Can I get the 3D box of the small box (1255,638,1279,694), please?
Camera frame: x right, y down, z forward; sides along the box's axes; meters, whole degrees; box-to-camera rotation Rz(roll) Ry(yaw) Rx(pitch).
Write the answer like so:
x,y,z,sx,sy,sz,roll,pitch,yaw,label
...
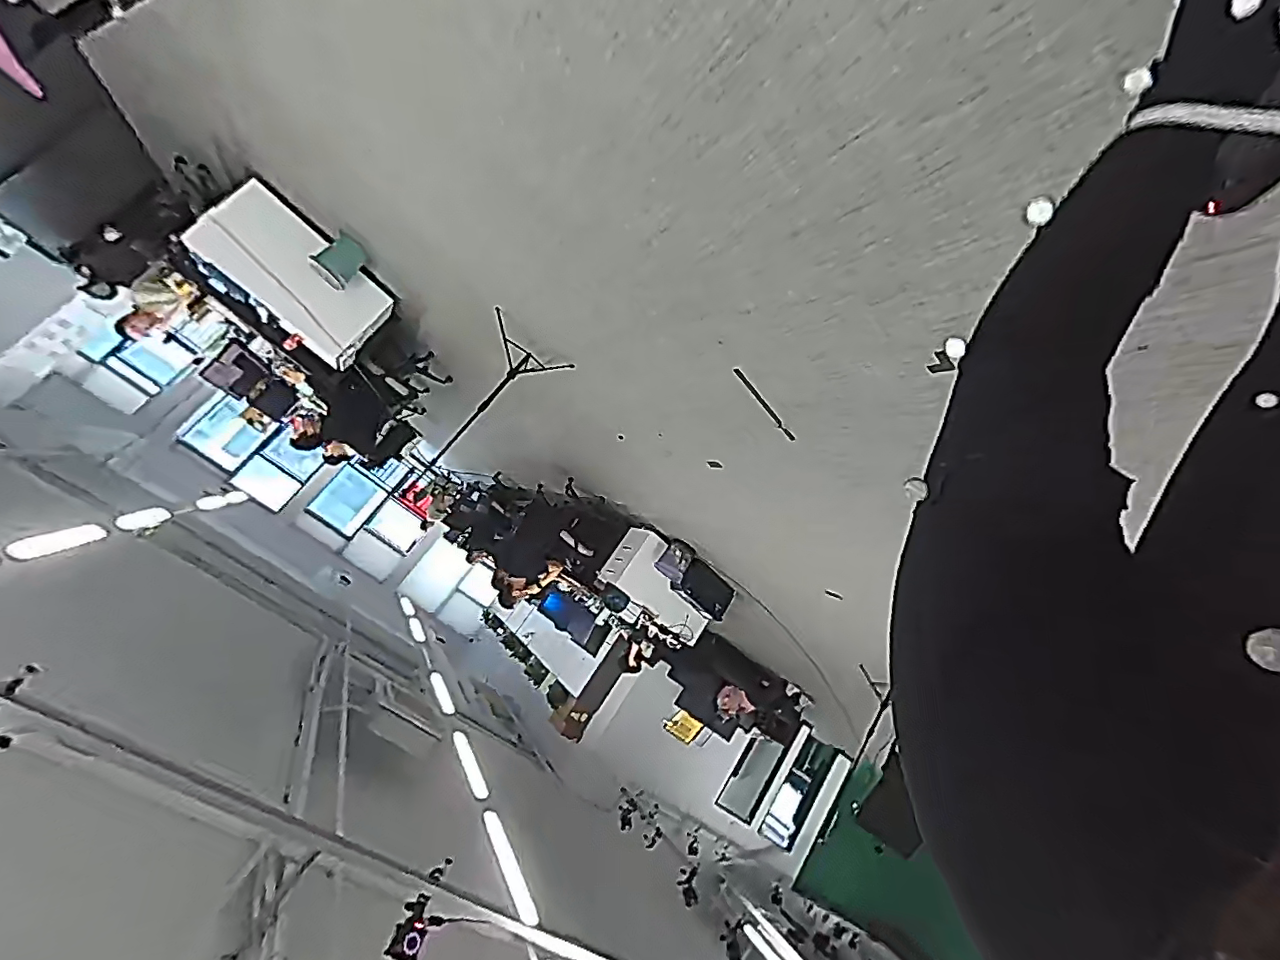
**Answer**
x,y,z,sx,sy,sz,roll,pitch,yaw,label
1.777,0.543,1.422,0.168,0.176,0.179,44,162,-25,small box
